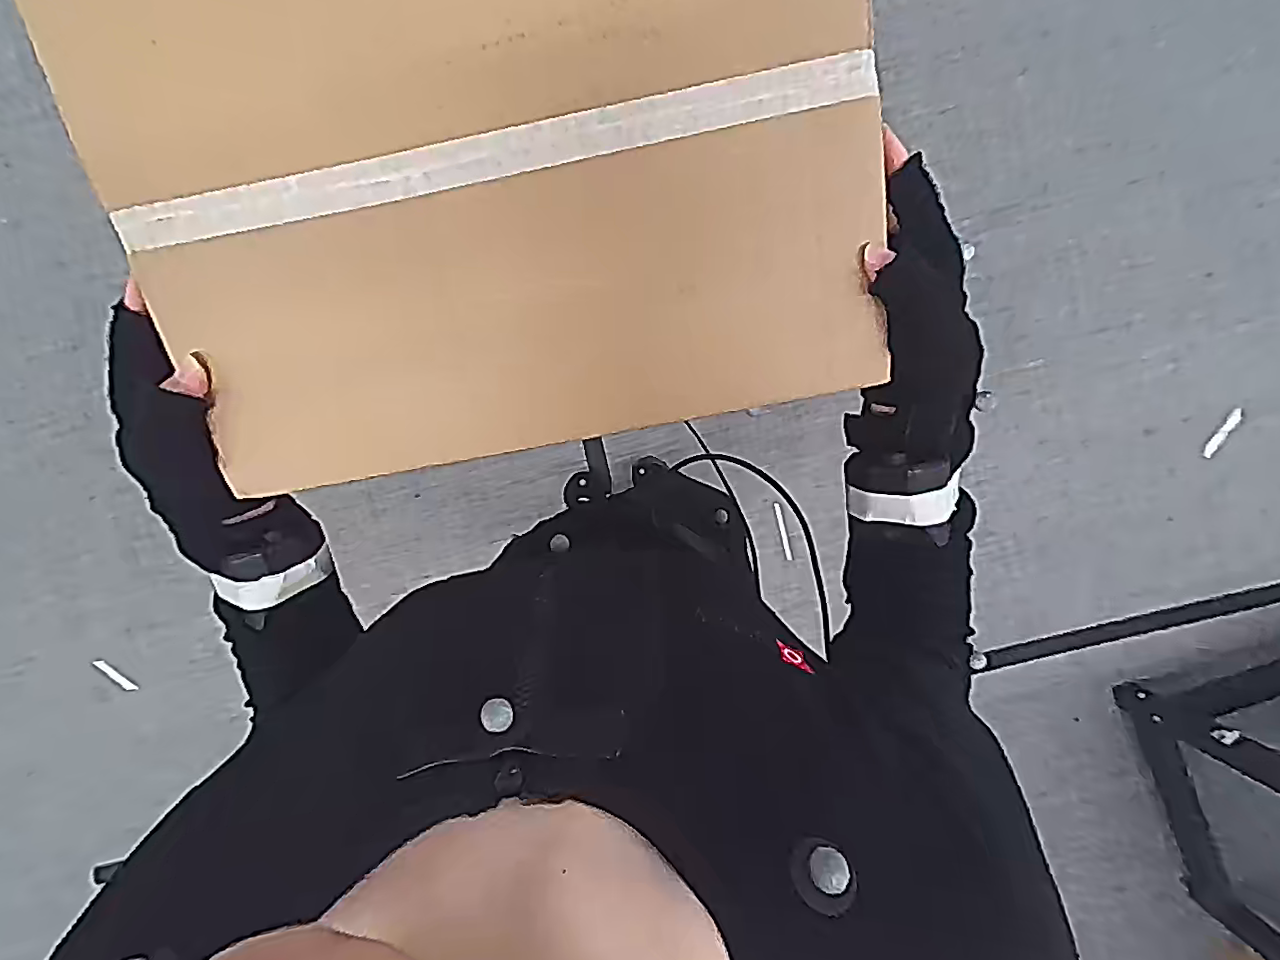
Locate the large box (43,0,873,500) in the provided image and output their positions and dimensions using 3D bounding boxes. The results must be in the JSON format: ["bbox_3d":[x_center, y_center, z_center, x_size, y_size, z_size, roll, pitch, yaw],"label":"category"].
[{"bbox_3d":[-0.080,-0.211,0.436,0.408,0.320,0.320,-10,106,3],"label":"large box"}]
